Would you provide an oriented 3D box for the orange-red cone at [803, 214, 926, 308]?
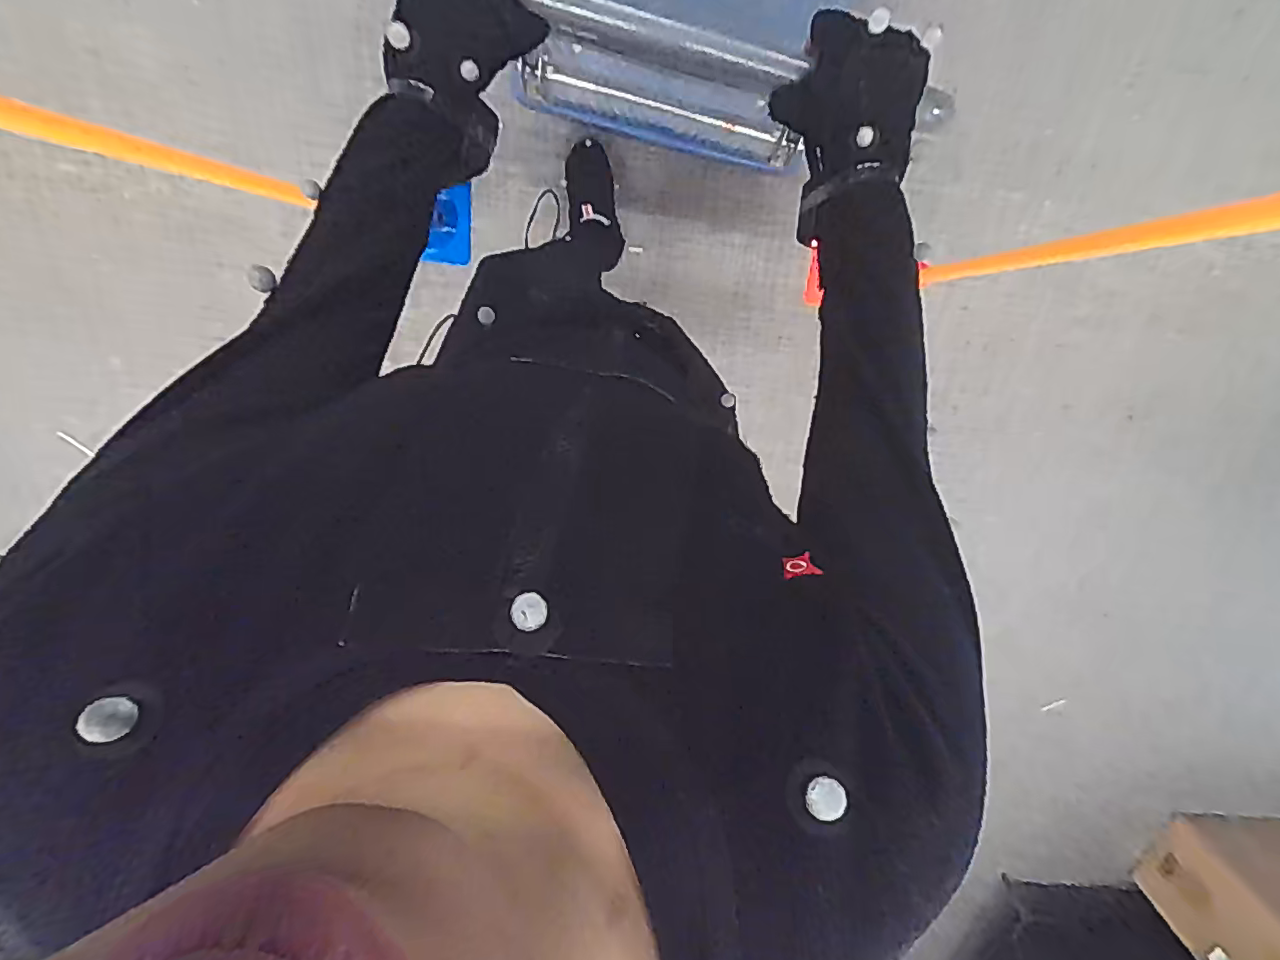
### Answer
[{"bbox_3d":[0.507,-0.457,1.155,0.199,0.360,0.198,7,114,-2],"label":"orange-red cone"}]
